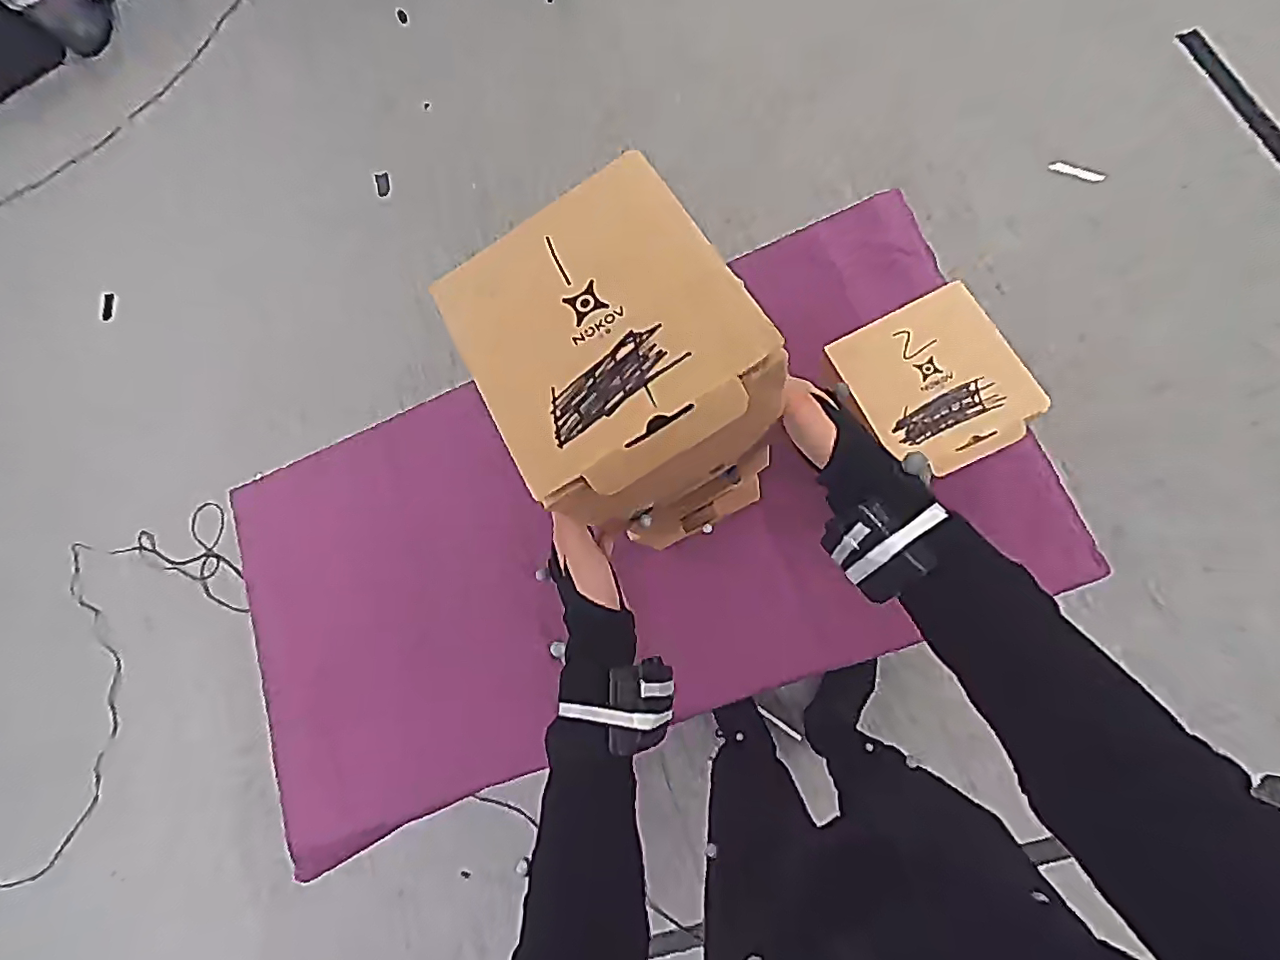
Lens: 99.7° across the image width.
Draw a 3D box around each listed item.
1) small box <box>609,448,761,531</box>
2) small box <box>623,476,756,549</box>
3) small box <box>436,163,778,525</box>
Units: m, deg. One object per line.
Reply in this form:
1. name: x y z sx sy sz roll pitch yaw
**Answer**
1. small box: 0.017 -0.058 0.570 0.168 0.176 0.179 -31 73 5
2. small box: 0.043 -0.021 0.726 0.168 0.176 0.179 -28 74 7
3. small box: -0.011 -0.078 0.409 0.168 0.176 0.179 -32 73 5
